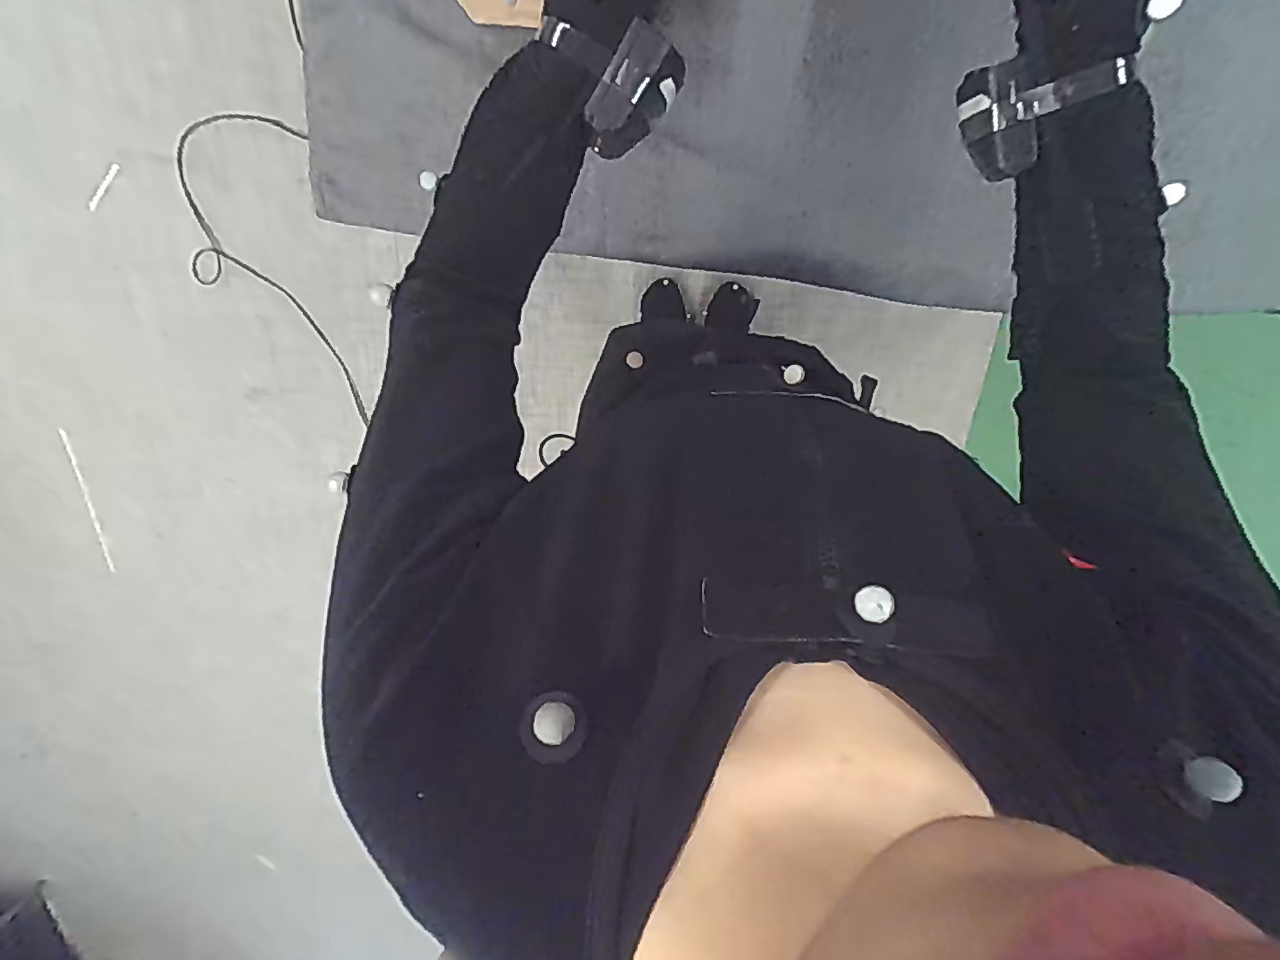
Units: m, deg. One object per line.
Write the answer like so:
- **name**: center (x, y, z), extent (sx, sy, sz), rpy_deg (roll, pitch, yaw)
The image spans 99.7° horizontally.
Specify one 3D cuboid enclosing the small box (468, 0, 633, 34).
- **small box**: center (-0.088, -0.524, 0.465), extent (0.168, 0.176, 0.179), rpy_deg (4, 110, 0)
